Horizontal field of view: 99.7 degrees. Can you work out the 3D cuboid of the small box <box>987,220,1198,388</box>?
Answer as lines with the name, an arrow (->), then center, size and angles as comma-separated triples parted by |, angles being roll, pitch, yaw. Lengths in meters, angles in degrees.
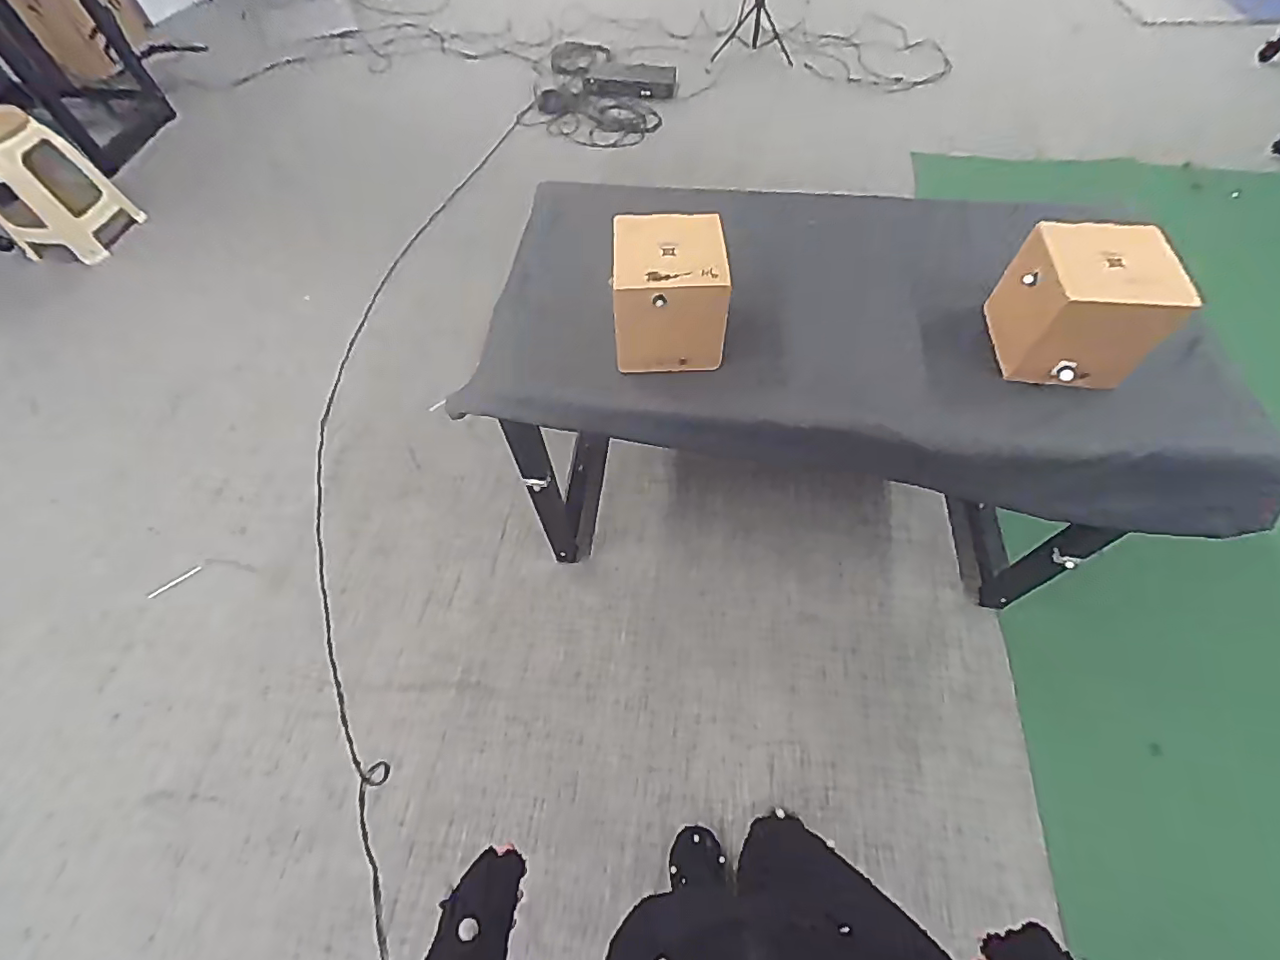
small box -> 0.665, -0.266, 0.826 | 0.168, 0.176, 0.179 | 4, 60, 7

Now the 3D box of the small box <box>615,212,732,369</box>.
small box -> 0.048, -0.299, 0.864 | 0.168, 0.176, 0.179 | -2, 57, 1
